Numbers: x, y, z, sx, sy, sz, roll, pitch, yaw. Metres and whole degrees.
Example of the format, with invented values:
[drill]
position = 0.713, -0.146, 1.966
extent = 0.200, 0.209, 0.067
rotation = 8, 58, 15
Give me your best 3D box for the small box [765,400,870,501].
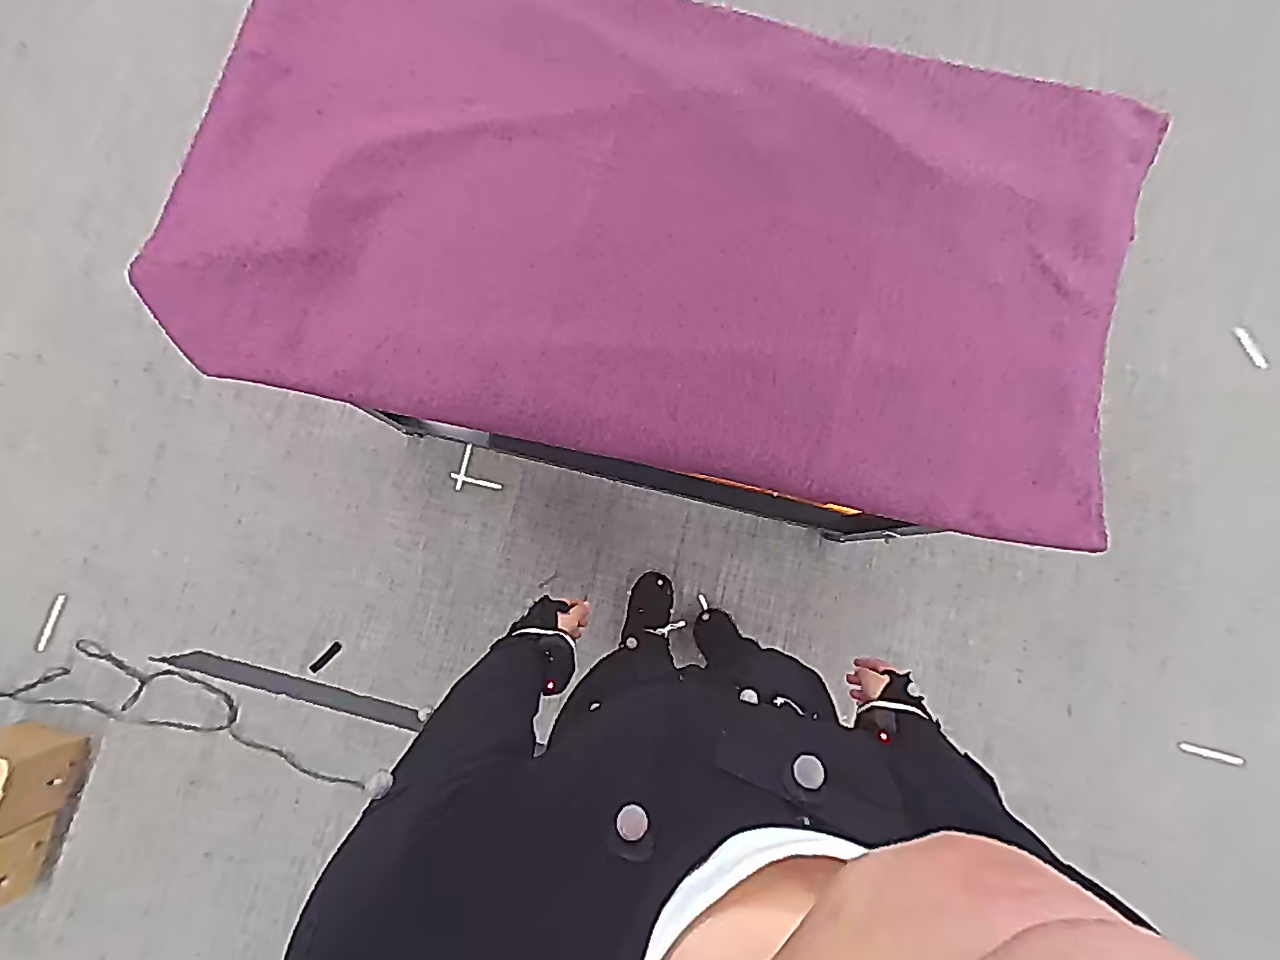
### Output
[small box]
position = 0.388, -0.058, 1.215
extent = 0.168, 0.176, 0.179
rotation = 14, 81, 2
